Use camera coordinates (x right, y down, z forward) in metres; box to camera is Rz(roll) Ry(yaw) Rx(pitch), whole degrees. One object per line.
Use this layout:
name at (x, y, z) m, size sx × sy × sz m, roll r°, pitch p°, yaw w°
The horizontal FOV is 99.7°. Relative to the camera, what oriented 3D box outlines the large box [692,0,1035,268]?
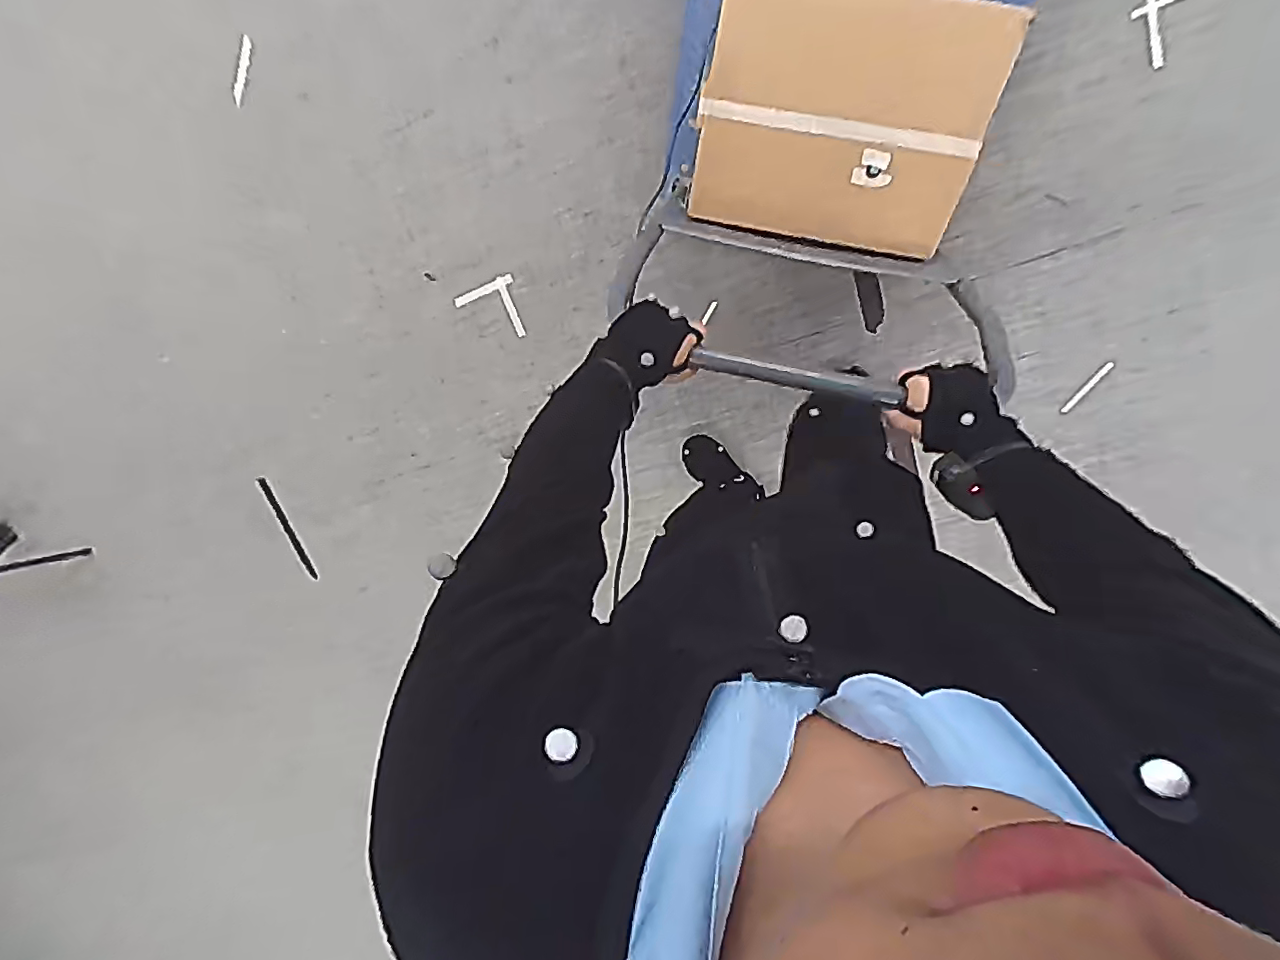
large box at (0.320, -0.582, 0.912) m, size 0.408 × 0.320 × 0.320 m, roll 12°, pitch 126°, yaw 4°
